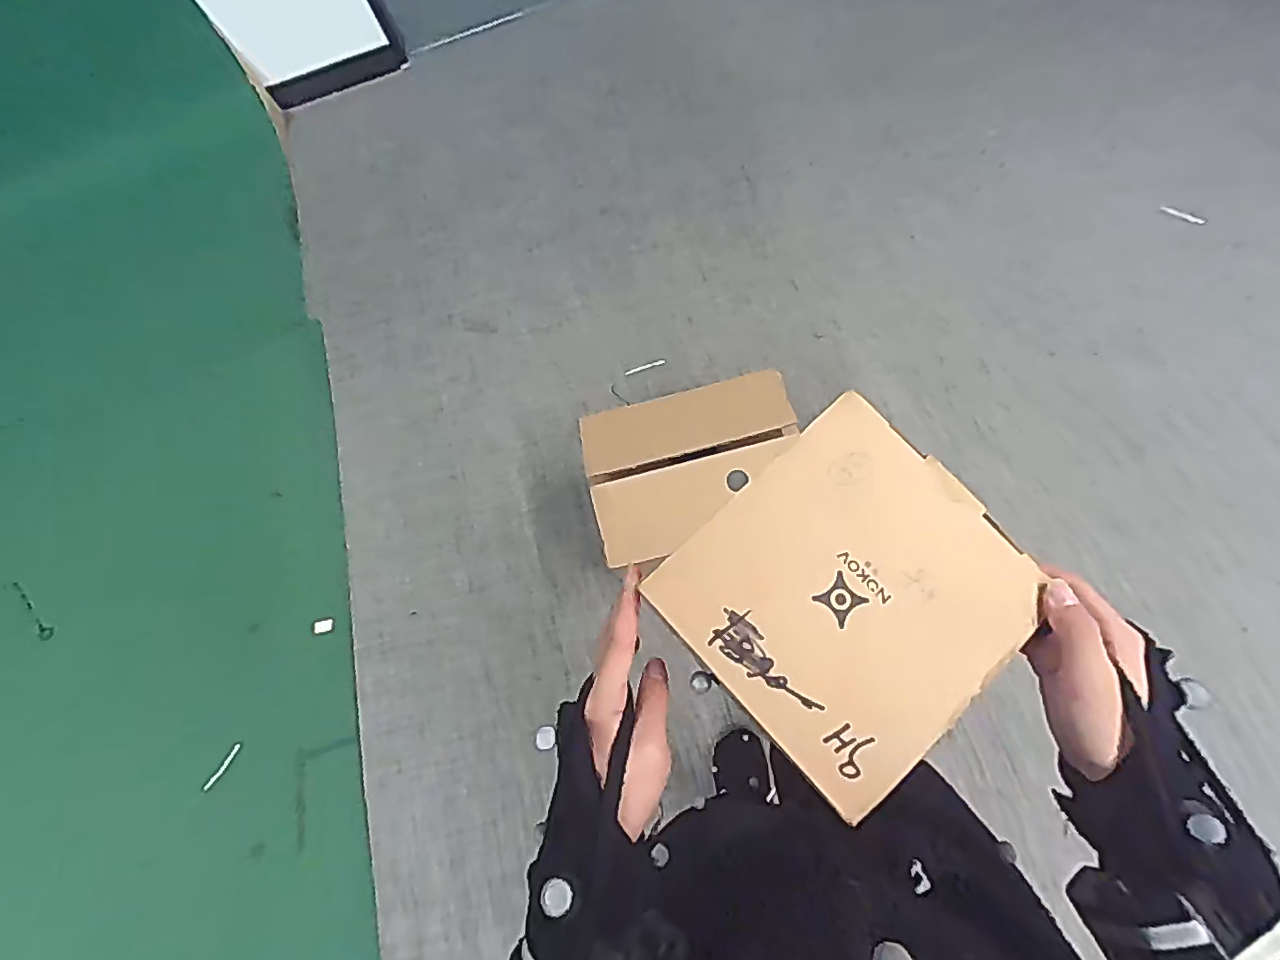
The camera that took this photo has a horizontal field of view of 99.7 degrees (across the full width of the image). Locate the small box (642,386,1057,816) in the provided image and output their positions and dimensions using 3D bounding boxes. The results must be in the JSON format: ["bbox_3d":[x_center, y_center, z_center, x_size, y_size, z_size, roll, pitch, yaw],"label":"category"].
[{"bbox_3d":[0.113,0.072,0.374,0.179,0.176,0.168,-42,82,-9],"label":"small box"}]
